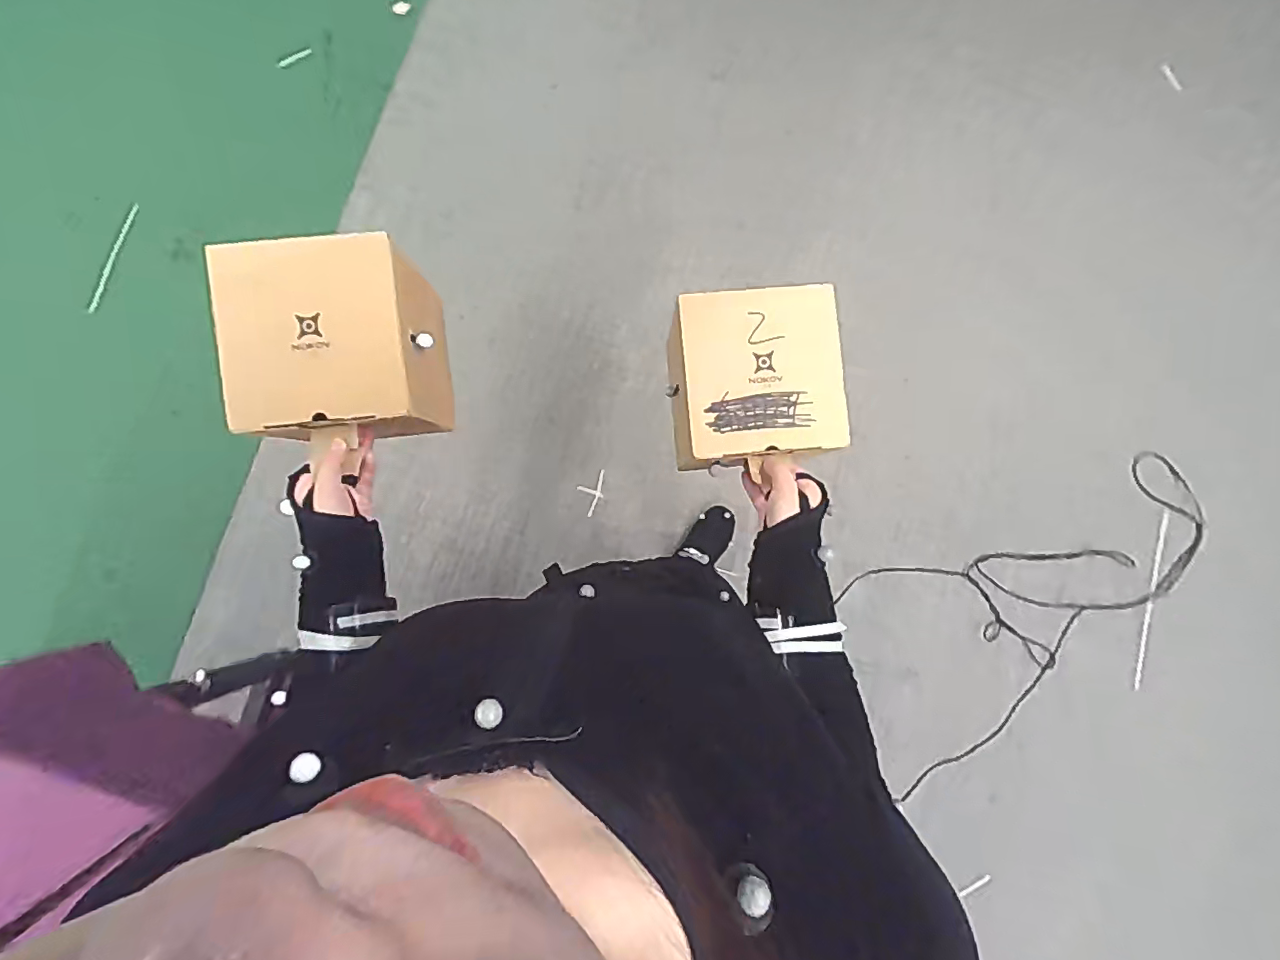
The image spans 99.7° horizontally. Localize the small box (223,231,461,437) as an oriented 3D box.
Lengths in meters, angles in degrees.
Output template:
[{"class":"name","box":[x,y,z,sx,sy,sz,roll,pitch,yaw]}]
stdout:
[{"class":"small box","box":[-0.301,-0.144,0.582,0.168,0.176,0.179,-5,92,-4]}]
